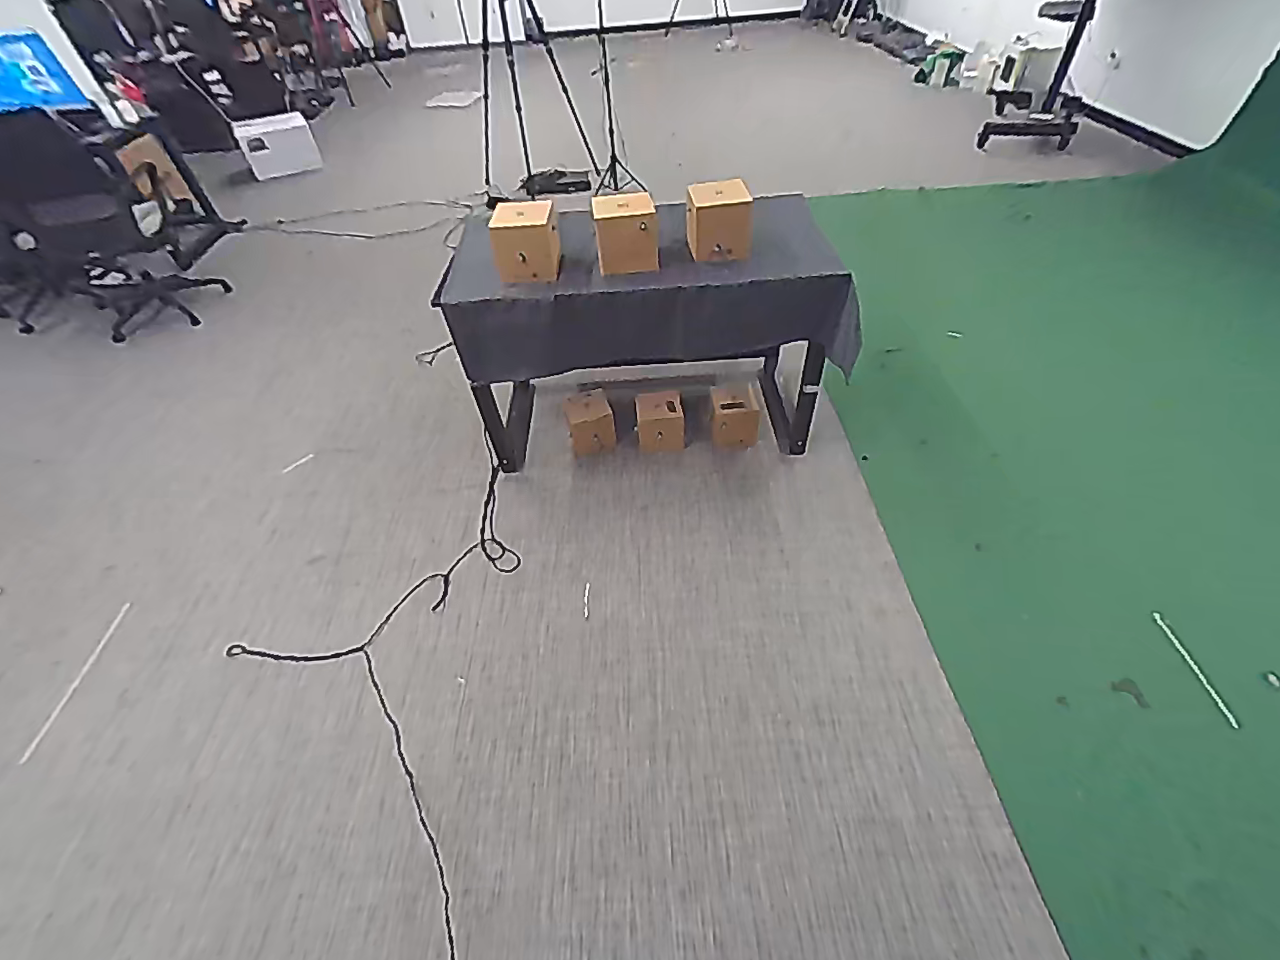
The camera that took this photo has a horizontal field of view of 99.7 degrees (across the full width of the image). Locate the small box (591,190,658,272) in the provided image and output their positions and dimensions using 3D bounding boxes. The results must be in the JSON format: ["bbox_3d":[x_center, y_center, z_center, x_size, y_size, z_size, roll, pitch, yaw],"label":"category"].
[{"bbox_3d":[-0.044,-0.730,1.594,0.179,0.176,0.168,-7,47,-2],"label":"small box"}]

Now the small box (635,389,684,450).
[{"bbox_3d":[0.077,-0.234,2.114,0.179,0.176,0.168,-6,47,1],"label":"small box"}]

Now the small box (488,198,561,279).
[{"bbox_3d":[-0.332,-0.706,1.591,0.168,0.176,0.179,-2,47,2],"label":"small box"}]

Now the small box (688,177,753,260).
[{"bbox_3d":[0.234,-0.779,1.614,0.168,0.176,0.179,-6,47,0],"label":"small box"}]
